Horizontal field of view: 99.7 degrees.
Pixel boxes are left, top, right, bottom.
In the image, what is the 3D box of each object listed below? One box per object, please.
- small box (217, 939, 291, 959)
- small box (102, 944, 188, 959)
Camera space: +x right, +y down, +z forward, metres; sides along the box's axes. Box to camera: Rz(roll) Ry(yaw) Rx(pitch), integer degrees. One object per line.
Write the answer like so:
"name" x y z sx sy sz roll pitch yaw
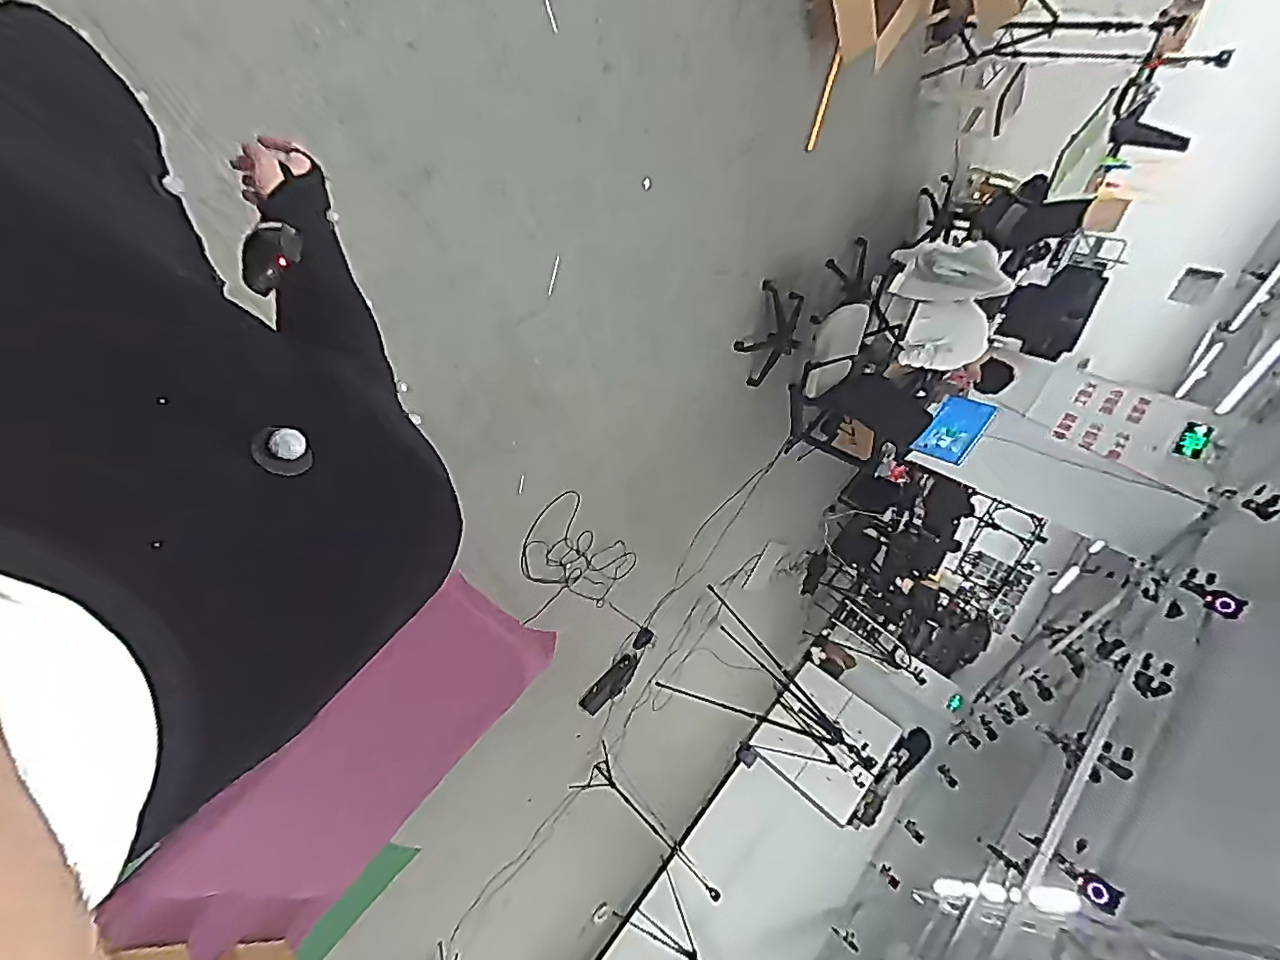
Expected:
"small box" -0.956 1.253 1.300 0.168 0.176 0.179 -47 145 -21
"small box" -1.014 1.059 1.059 0.168 0.176 0.179 -47 149 -21
